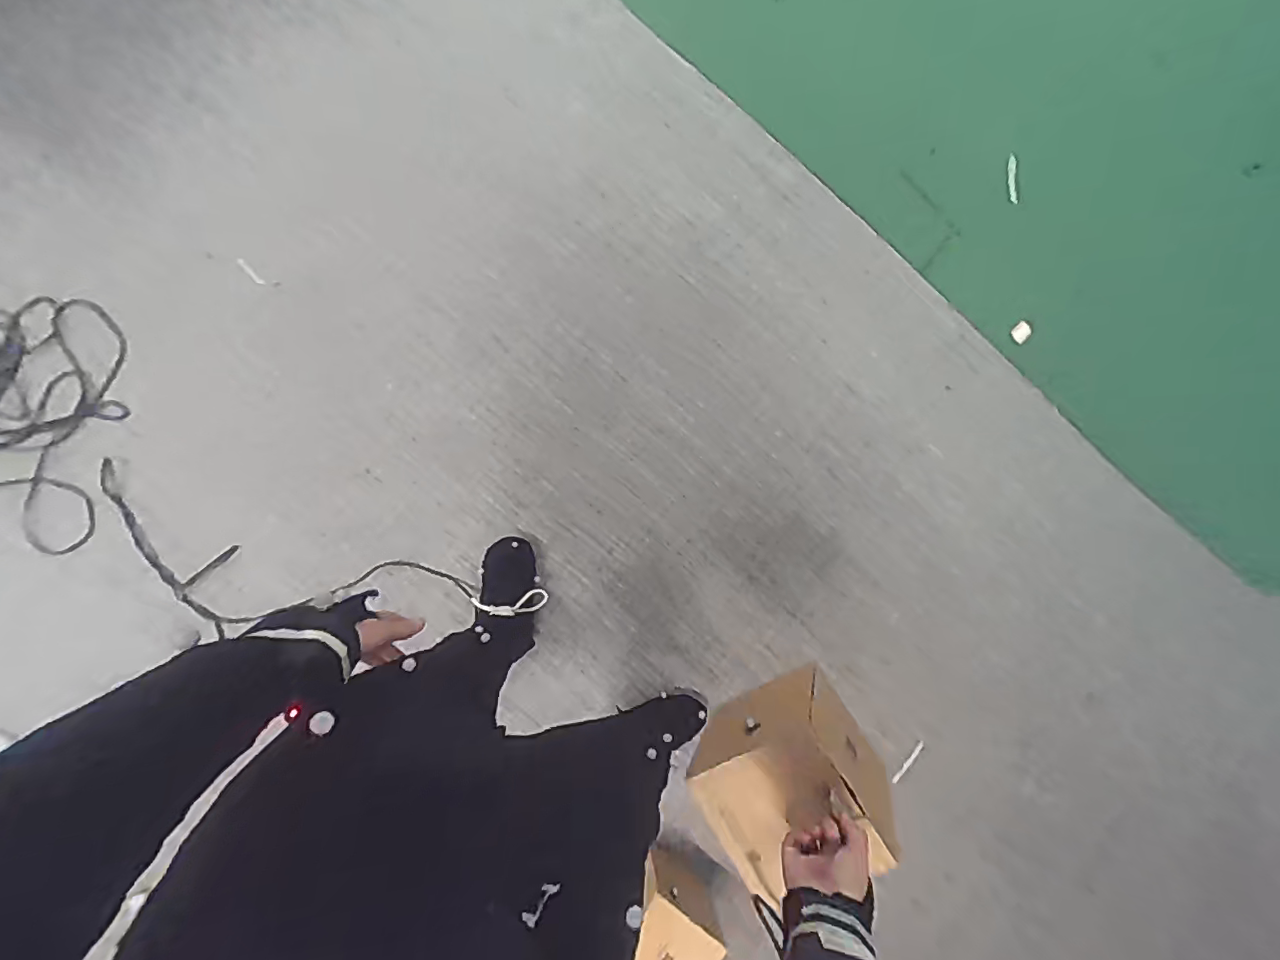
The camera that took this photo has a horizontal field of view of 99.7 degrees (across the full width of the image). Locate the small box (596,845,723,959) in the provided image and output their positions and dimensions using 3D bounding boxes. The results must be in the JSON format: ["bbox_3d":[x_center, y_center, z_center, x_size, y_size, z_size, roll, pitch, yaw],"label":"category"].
[{"bbox_3d":[0.032,0.876,1.064,0.179,0.176,0.168,41,85,-2],"label":"small box"}]

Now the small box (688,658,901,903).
[{"bbox_3d":[0.178,0.348,0.644,0.176,0.179,0.168,-34,81,17],"label":"small box"}]
